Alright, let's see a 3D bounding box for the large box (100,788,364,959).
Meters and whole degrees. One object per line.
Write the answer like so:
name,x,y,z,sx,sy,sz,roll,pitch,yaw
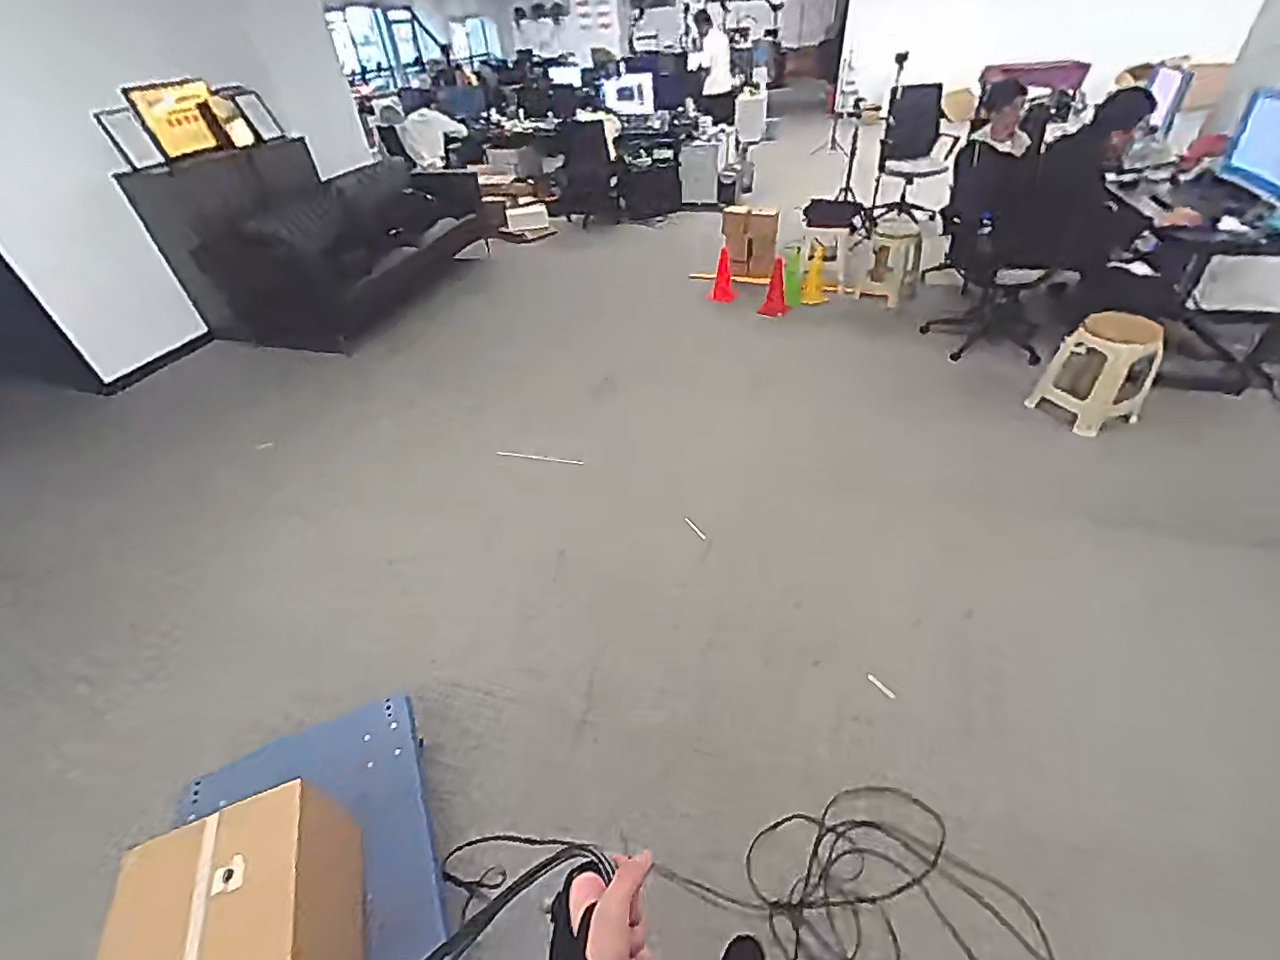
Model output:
large box,-0.732,0.891,1.004,0.320,0.320,0.408,-18,41,-15
